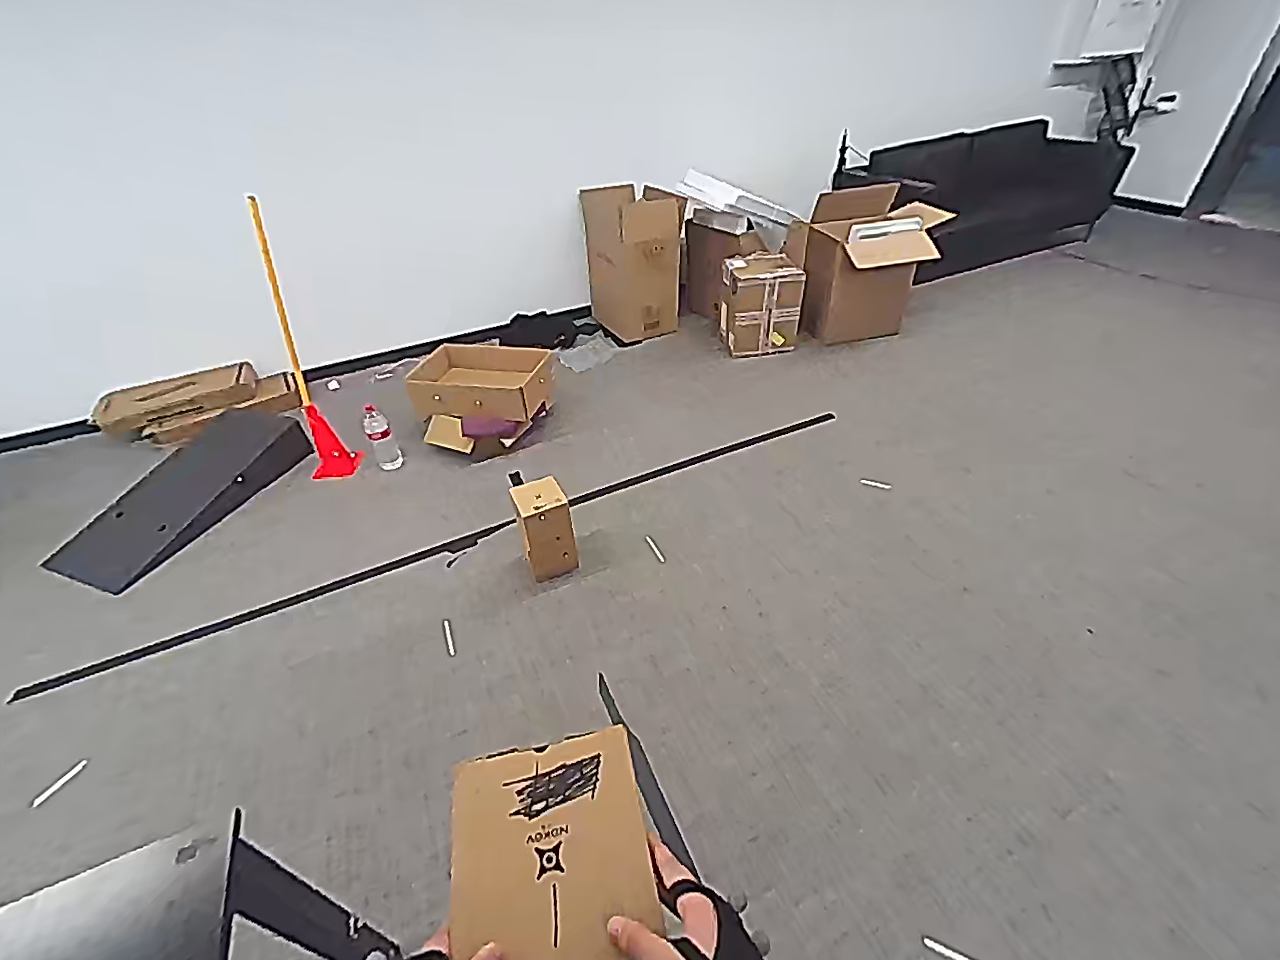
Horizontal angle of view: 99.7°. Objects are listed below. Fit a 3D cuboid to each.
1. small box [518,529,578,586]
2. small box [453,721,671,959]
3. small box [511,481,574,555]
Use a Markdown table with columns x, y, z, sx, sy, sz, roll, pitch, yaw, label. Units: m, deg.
| x | y | z | sx | sy | sz | roll | pitch | yaw | label |
| --- | --- | --- | --- | --- | --- | --- | --- | --- | --- |
| -0.341 | 0.265 | 2.036 | 0.179 | 0.176 | 0.168 | -19 | 40 | -17 | small box |
| -0.073 | 0.366 | 0.514 | 0.168 | 0.176 | 0.179 | -10 | 44 | -8 | small box |
| -0.349 | 0.136 | 1.935 | 0.168 | 0.176 | 0.179 | -20 | 39 | -19 | small box |
